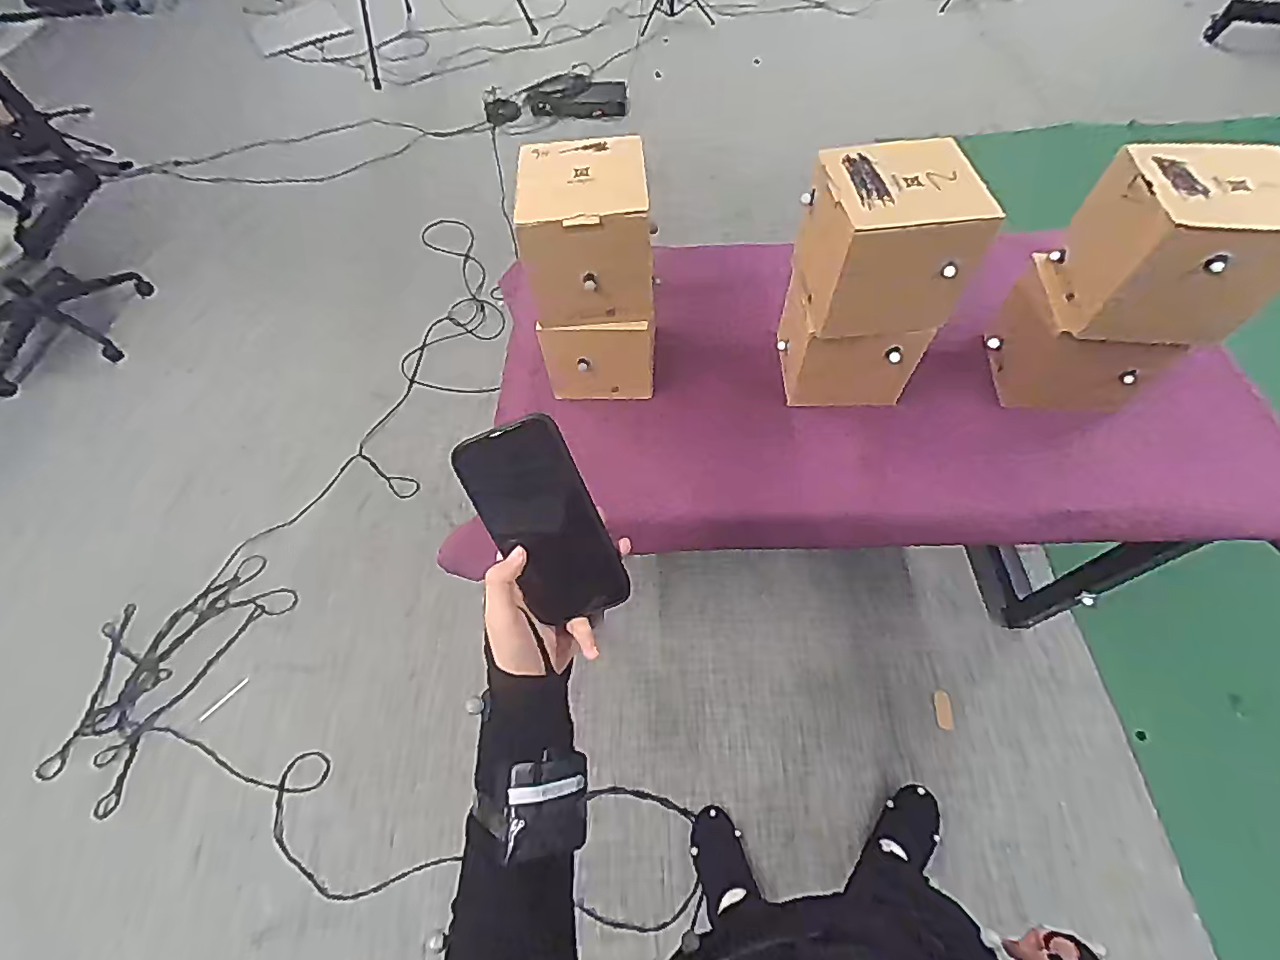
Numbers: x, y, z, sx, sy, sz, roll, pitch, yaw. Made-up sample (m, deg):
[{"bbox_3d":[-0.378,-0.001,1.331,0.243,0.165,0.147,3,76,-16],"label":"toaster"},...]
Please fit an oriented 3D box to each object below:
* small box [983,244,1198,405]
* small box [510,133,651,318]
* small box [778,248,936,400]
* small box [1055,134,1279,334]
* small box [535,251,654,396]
[{"bbox_3d":[0.664,-0.231,0.823,0.179,0.176,0.168,5,60,7],"label":"small box"},{"bbox_3d":[-0.074,-0.342,0.751,0.168,0.176,0.179,-4,60,1],"label":"small box"},{"bbox_3d":[0.325,-0.239,0.851,0.179,0.176,0.168,-1,59,4],"label":"small box"},{"bbox_3d":[0.663,-0.300,0.674,0.179,0.176,0.168,5,60,6],"label":"small box"},{"bbox_3d":[-0.064,-0.251,0.888,0.168,0.176,0.179,0,59,4],"label":"small box"}]
